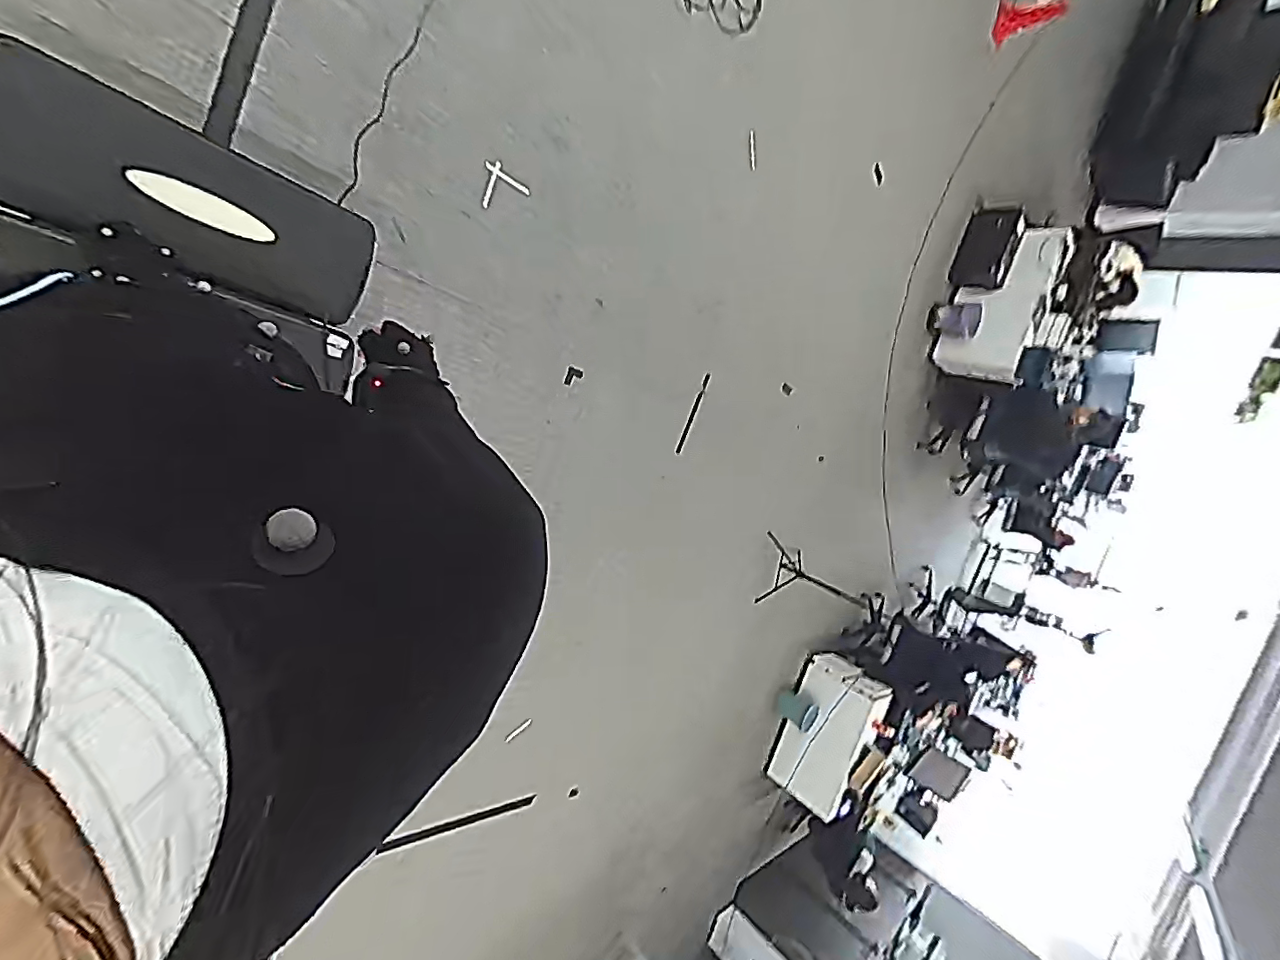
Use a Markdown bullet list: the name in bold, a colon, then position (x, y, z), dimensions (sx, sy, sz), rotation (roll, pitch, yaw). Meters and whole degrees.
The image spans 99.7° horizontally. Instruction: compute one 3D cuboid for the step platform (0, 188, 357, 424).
- **step platform**: position (-0.997, -0.337, 1.160), dimensions (0.684, 0.204, 0.286), rotation (14, 97, -46)
